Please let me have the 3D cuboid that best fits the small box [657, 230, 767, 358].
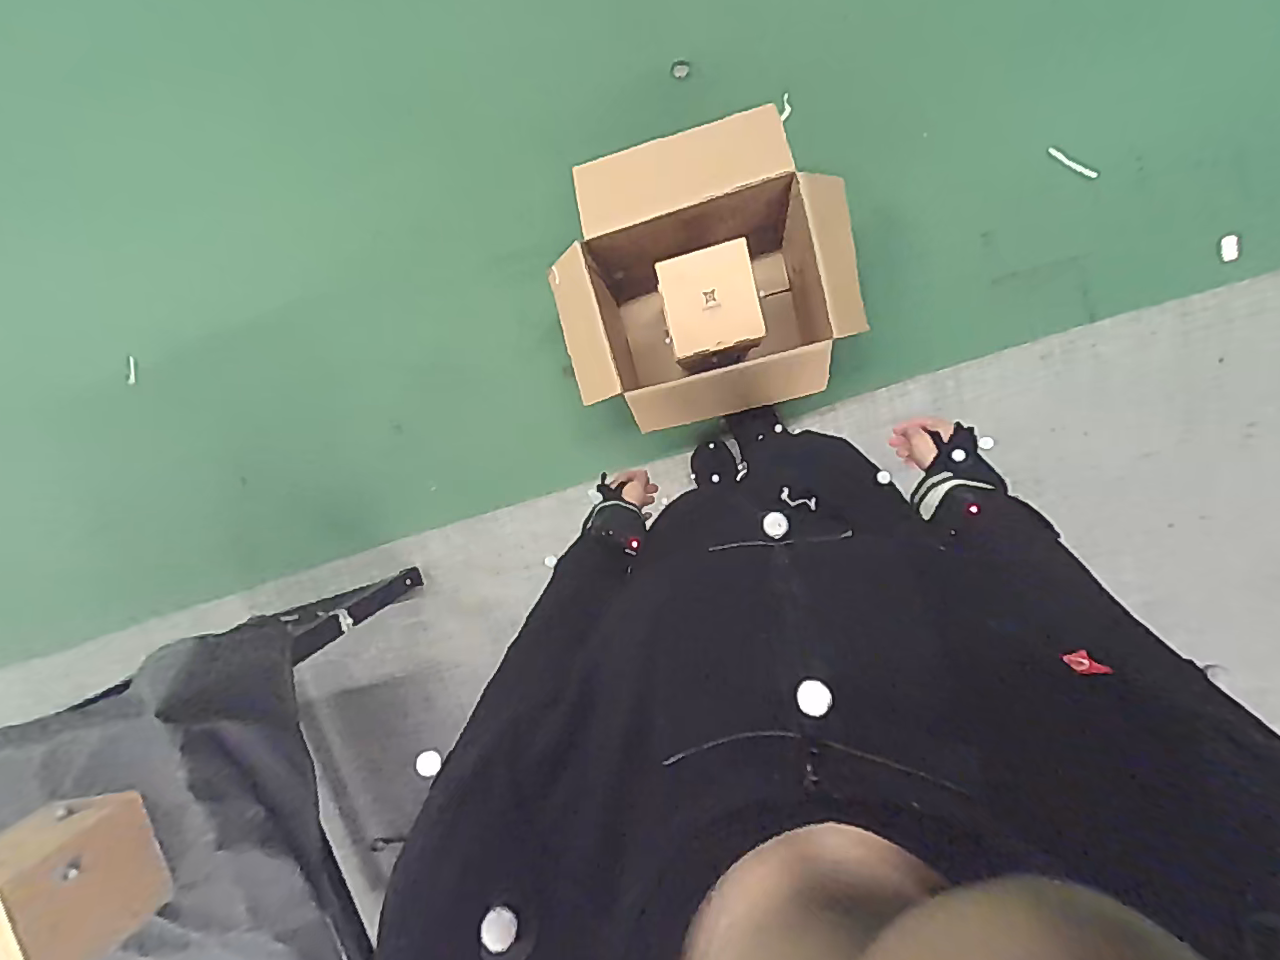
[{"bbox_3d":[0.134,-0.342,1.029,0.168,0.176,0.179,-14,97,9],"label":"small box"}]
